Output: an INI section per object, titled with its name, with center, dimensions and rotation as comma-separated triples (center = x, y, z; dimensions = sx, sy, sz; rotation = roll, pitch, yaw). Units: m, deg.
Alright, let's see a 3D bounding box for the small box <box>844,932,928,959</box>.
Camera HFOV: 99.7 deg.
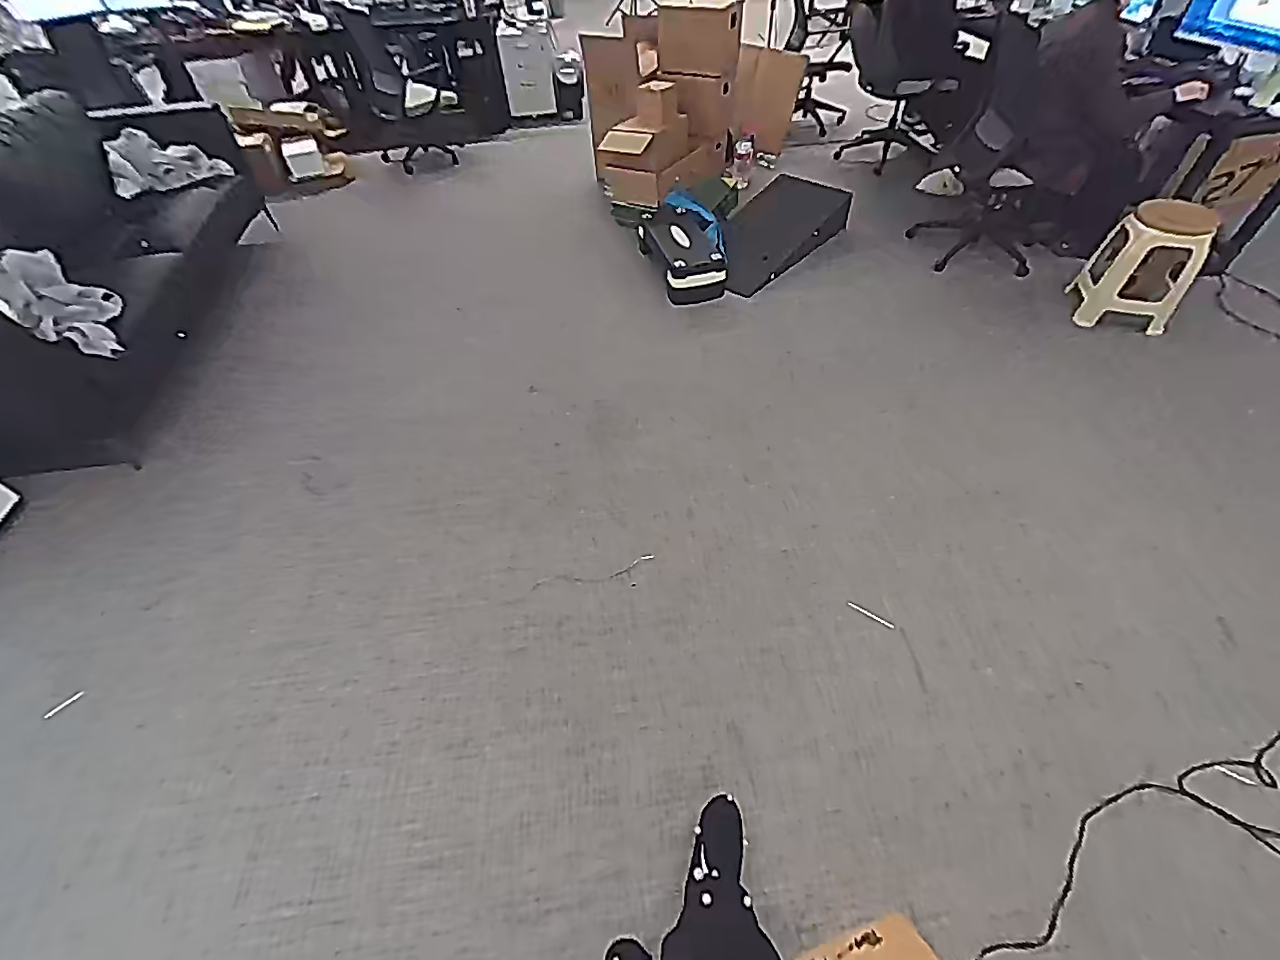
[small box]
center = 0.322, 0.711, 0.640
dimensions = 0.168, 0.179, 0.176
rotation = -17, 84, -10
